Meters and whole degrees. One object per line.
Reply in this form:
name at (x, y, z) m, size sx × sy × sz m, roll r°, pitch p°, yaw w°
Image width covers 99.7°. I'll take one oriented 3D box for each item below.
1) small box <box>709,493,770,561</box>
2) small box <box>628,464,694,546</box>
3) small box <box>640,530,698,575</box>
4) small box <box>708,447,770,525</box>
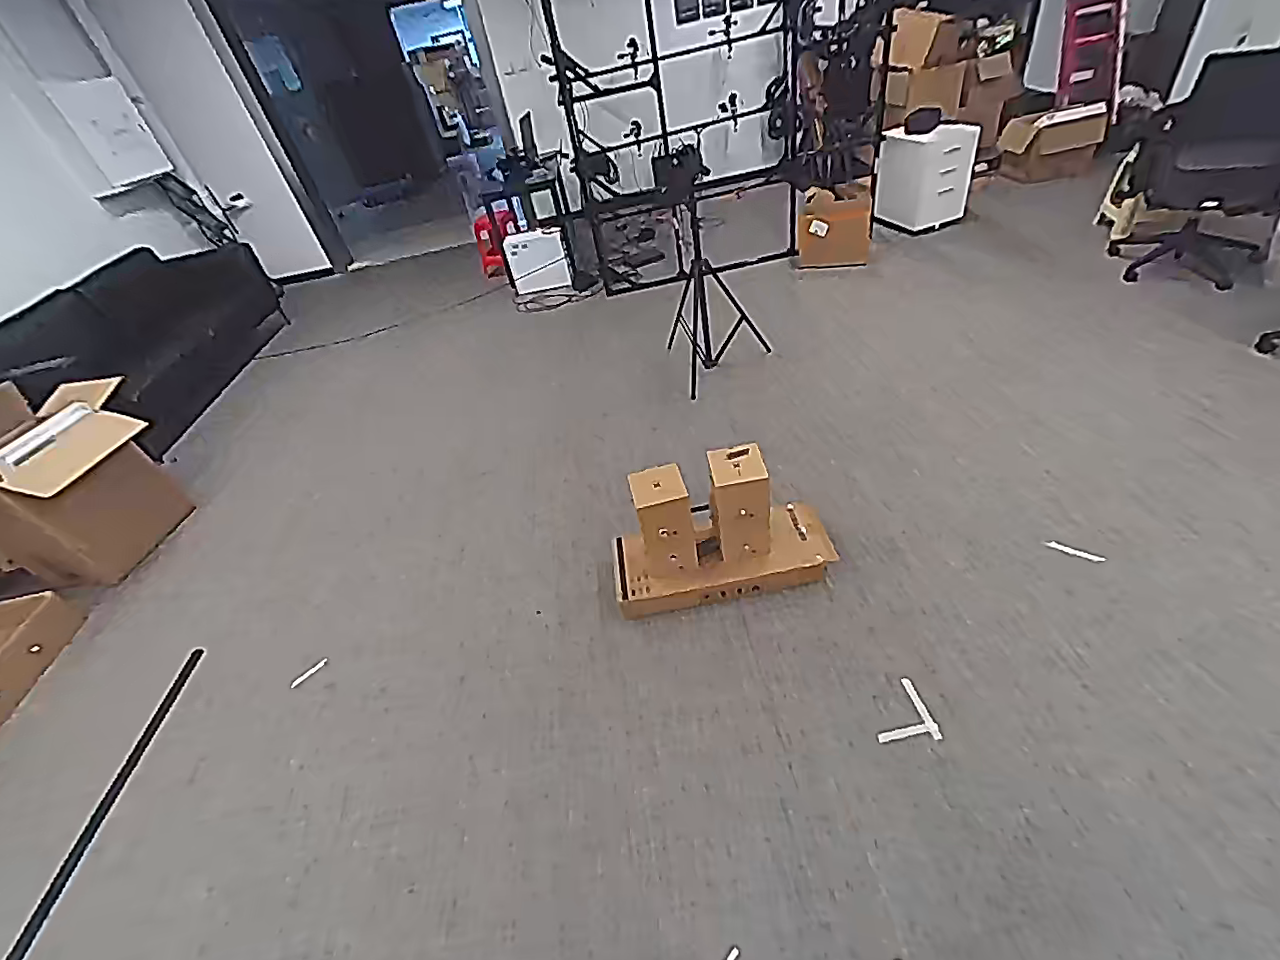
small box at (0.336, 0.147, 1.838) m, size 0.168 × 0.176 × 0.179 m, roll -13°, pitch 39°, yaw 1°
small box at (0.067, 0.081, 1.733) m, size 0.168 × 0.176 × 0.179 m, roll -16°, pitch 40°, yaw -2°
small box at (0.095, 0.203, 1.838) m, size 0.168 × 0.176 × 0.179 m, roll -13°, pitch 40°, yaw 0°
small box at (0.316, 0.020, 1.736) m, size 0.168 × 0.176 × 0.179 m, roll -10°, pitch 39°, yaw 4°
